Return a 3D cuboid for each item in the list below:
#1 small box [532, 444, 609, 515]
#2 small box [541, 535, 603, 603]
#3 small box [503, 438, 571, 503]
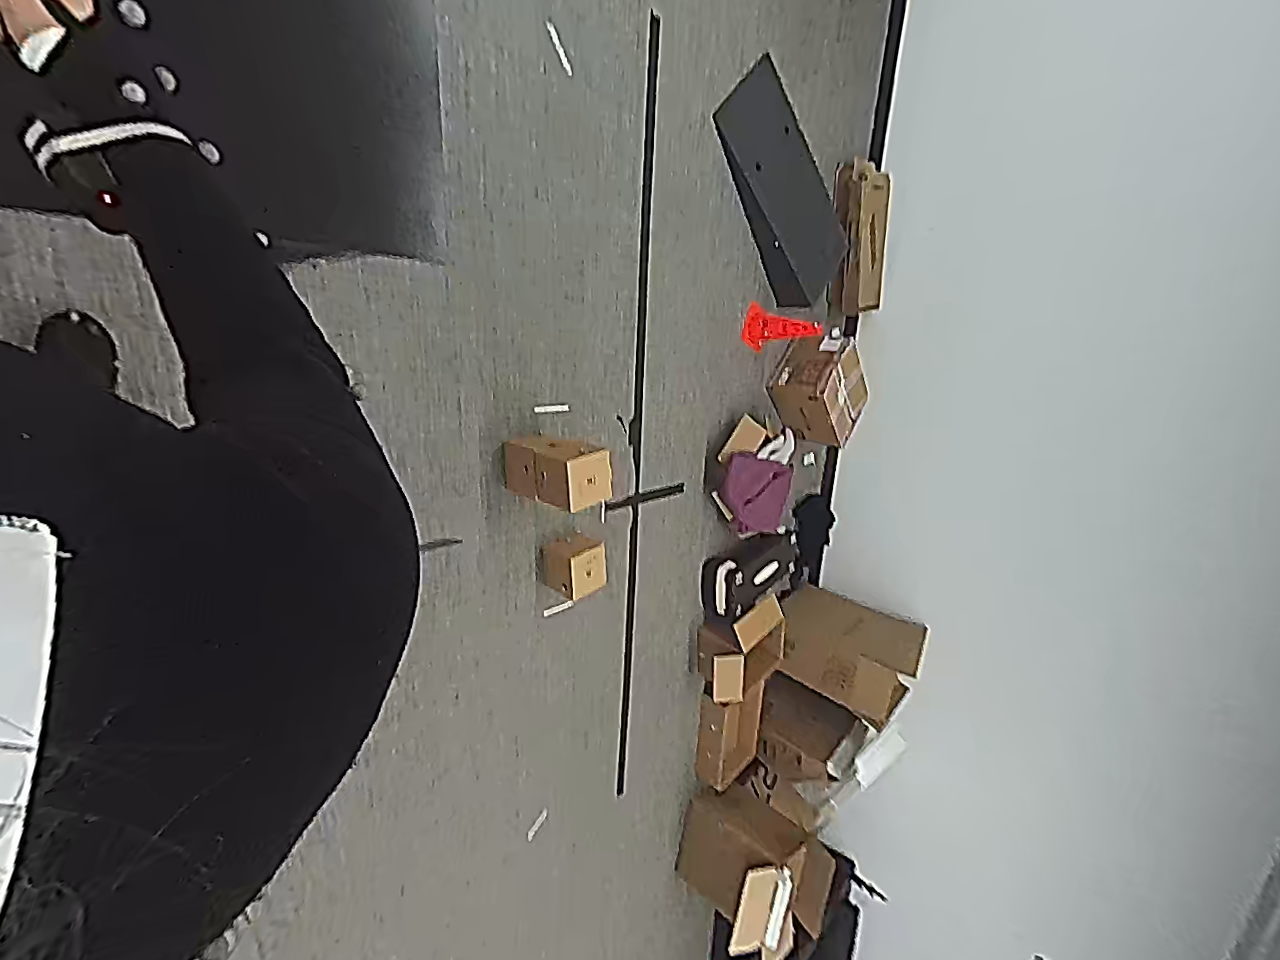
[{"bbox_3d":[-0.219,-0.009,1.713,0.179,0.176,0.168,-20,116,-42],"label":"small box"},{"bbox_3d":[-0.257,0.329,2.036,0.168,0.176,0.179,-21,117,-43],"label":"small box"},{"bbox_3d":[-0.345,-0.041,1.811,0.168,0.176,0.179,-17,115,-44],"label":"small box"}]
